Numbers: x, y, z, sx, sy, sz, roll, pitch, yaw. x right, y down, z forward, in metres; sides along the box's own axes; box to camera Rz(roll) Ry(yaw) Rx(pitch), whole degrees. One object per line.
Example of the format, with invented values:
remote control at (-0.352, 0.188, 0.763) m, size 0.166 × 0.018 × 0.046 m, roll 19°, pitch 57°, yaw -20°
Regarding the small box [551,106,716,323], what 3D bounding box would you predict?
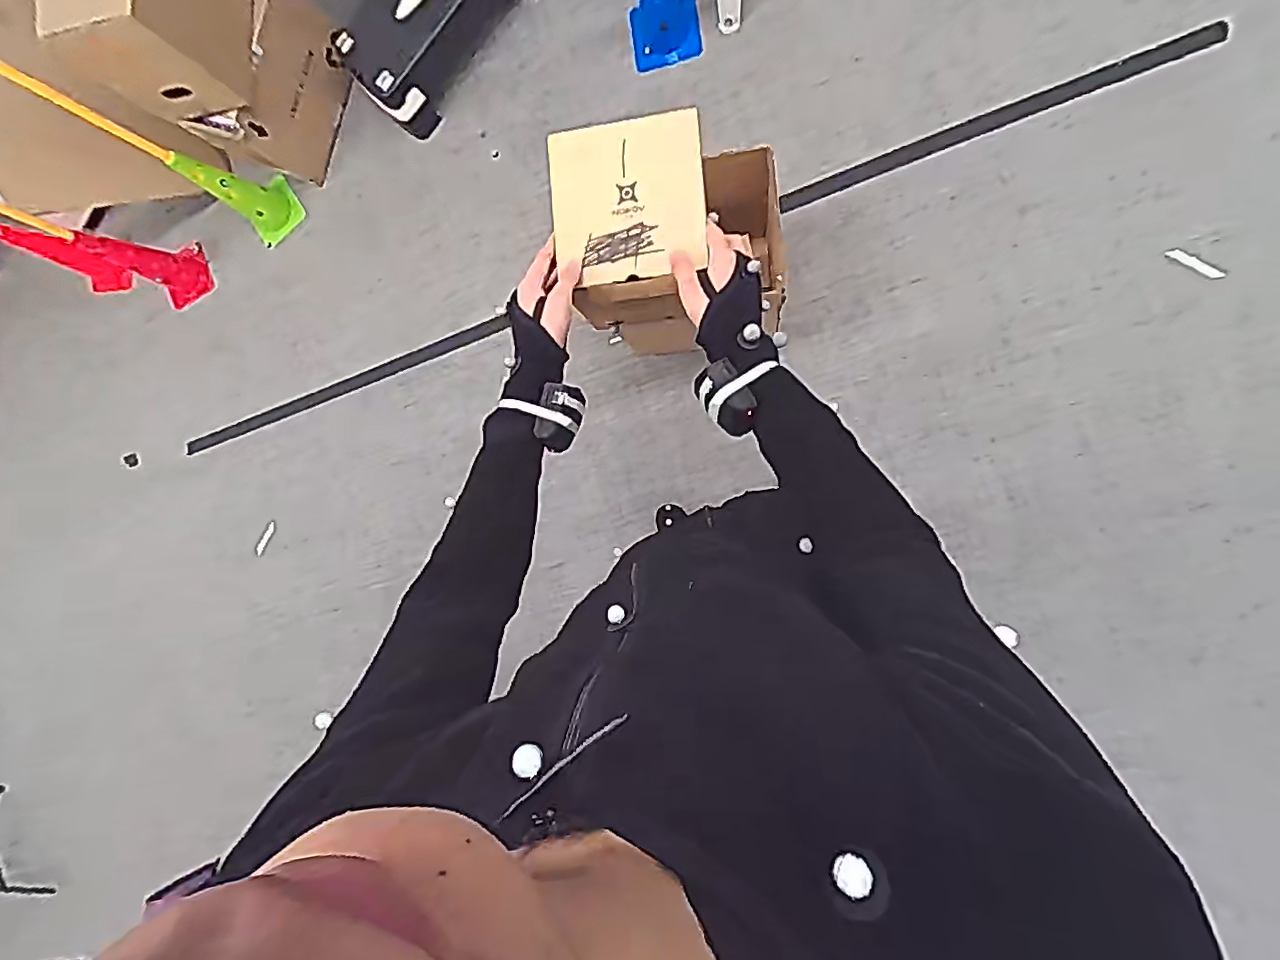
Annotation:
small box at (0.002, -0.300, 0.656) m, size 0.168 × 0.176 × 0.179 m, roll -5°, pitch 89°, yaw 9°
